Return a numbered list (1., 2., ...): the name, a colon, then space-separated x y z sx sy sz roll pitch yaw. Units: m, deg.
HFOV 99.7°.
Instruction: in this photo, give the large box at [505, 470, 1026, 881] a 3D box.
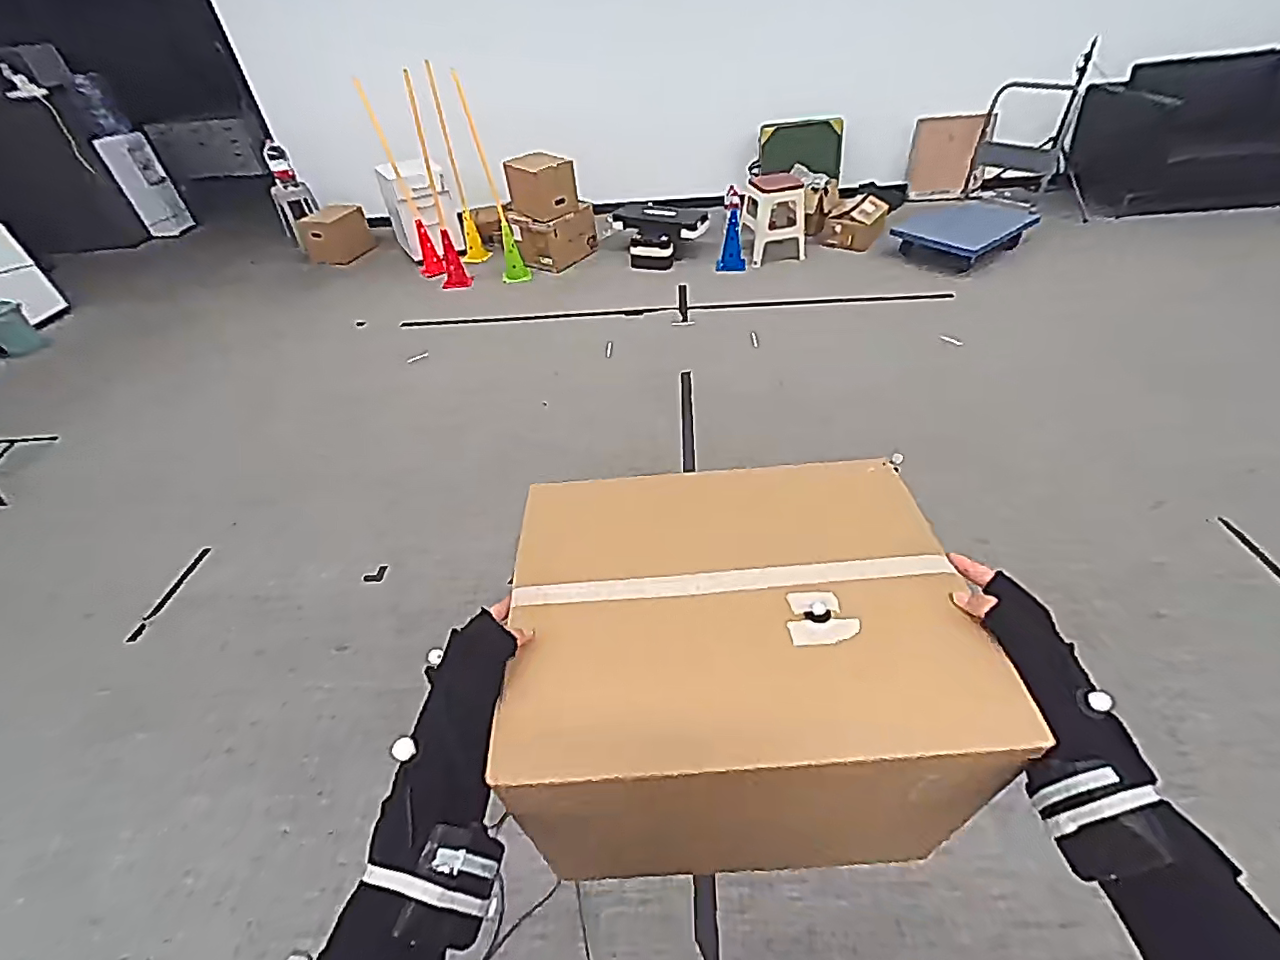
1. large box: 0.094 0.217 0.611 0.408 0.320 0.320 -4 43 1
